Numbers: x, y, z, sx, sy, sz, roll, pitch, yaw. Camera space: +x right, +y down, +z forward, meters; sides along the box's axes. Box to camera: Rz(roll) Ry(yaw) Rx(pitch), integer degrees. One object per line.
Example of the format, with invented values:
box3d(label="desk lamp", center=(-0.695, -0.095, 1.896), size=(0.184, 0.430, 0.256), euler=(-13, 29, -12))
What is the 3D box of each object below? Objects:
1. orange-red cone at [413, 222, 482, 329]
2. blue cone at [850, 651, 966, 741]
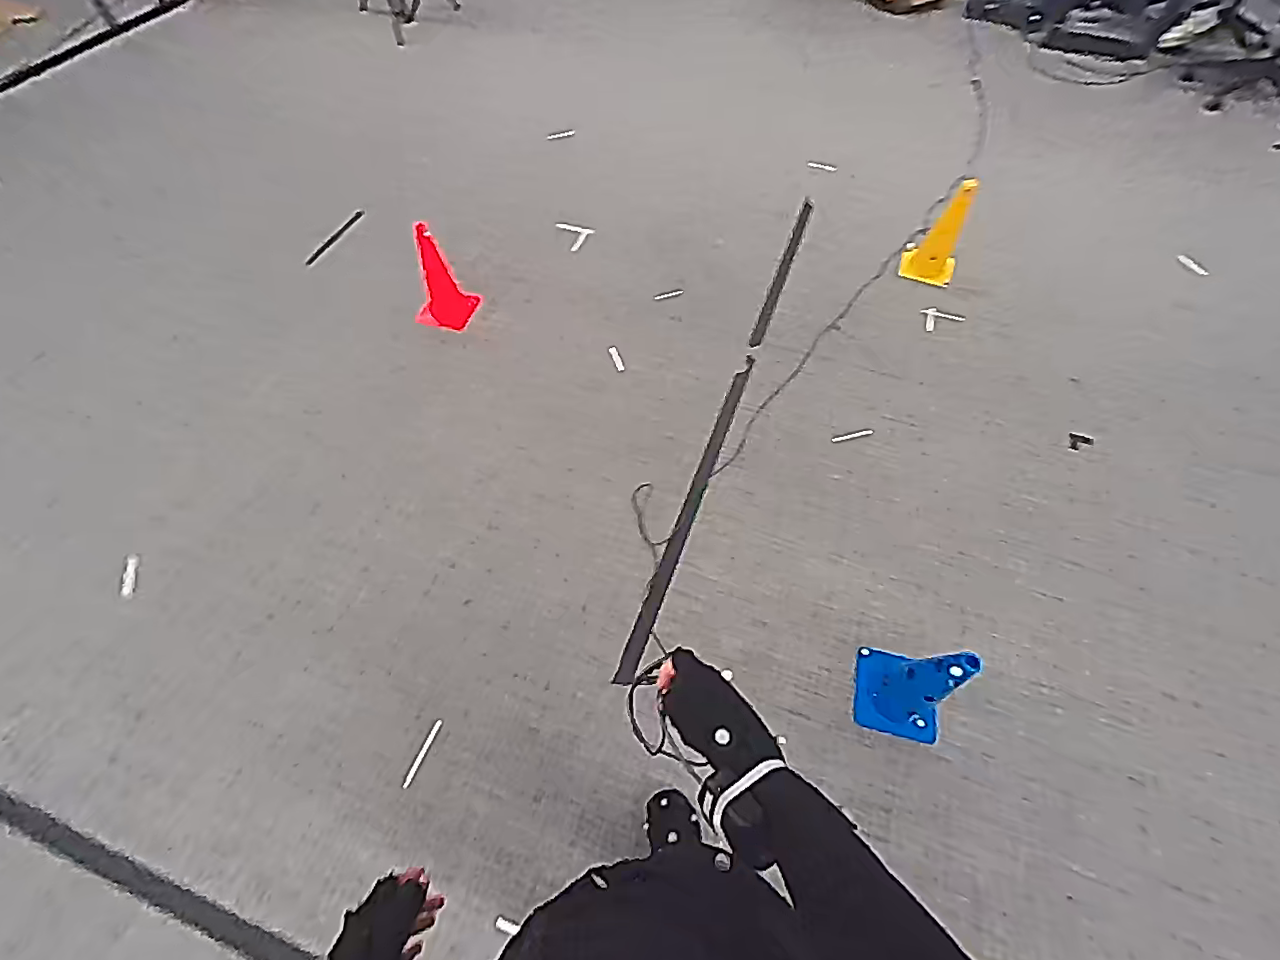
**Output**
box3d(label="orange-red cone", center=(-0.732, -0.752, 1.937), size=(0.198, 0.360, 0.199), euler=(14, 61, 9))
box3d(label="blue cone", center=(0.633, 0.456, 1.221), size=(0.192, 0.380, 0.193), euler=(14, 59, 8))
